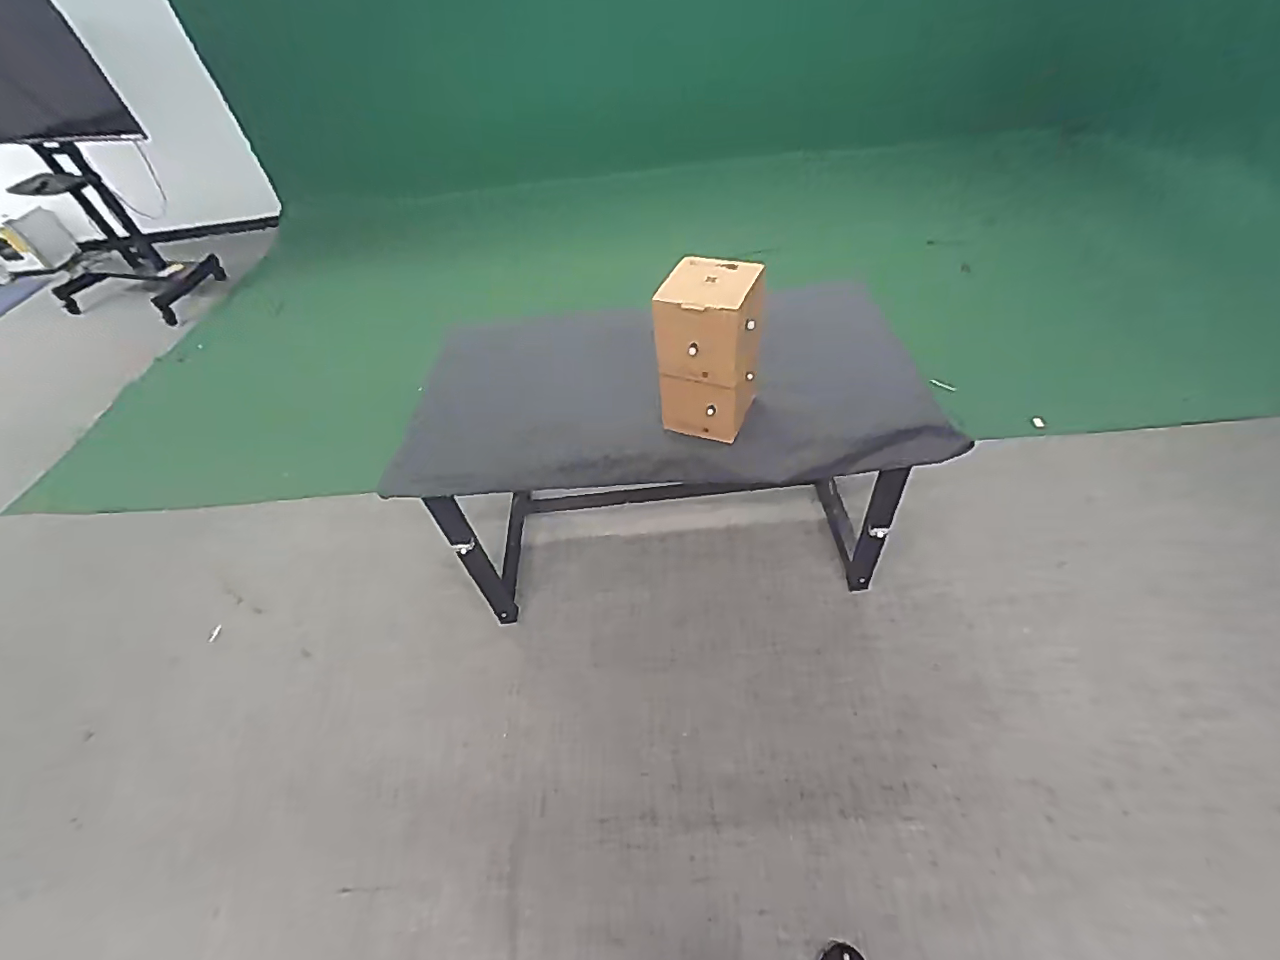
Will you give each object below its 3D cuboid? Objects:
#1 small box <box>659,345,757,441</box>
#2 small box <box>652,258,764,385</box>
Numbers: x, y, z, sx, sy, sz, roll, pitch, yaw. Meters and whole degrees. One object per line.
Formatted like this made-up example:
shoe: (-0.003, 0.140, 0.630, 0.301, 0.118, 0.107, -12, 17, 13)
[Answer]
small box: (0.154, -0.210, 1.195, 0.168, 0.176, 0.179, 15, 51, 19)
small box: (0.138, -0.311, 1.066, 0.168, 0.176, 0.179, 16, 53, 20)
